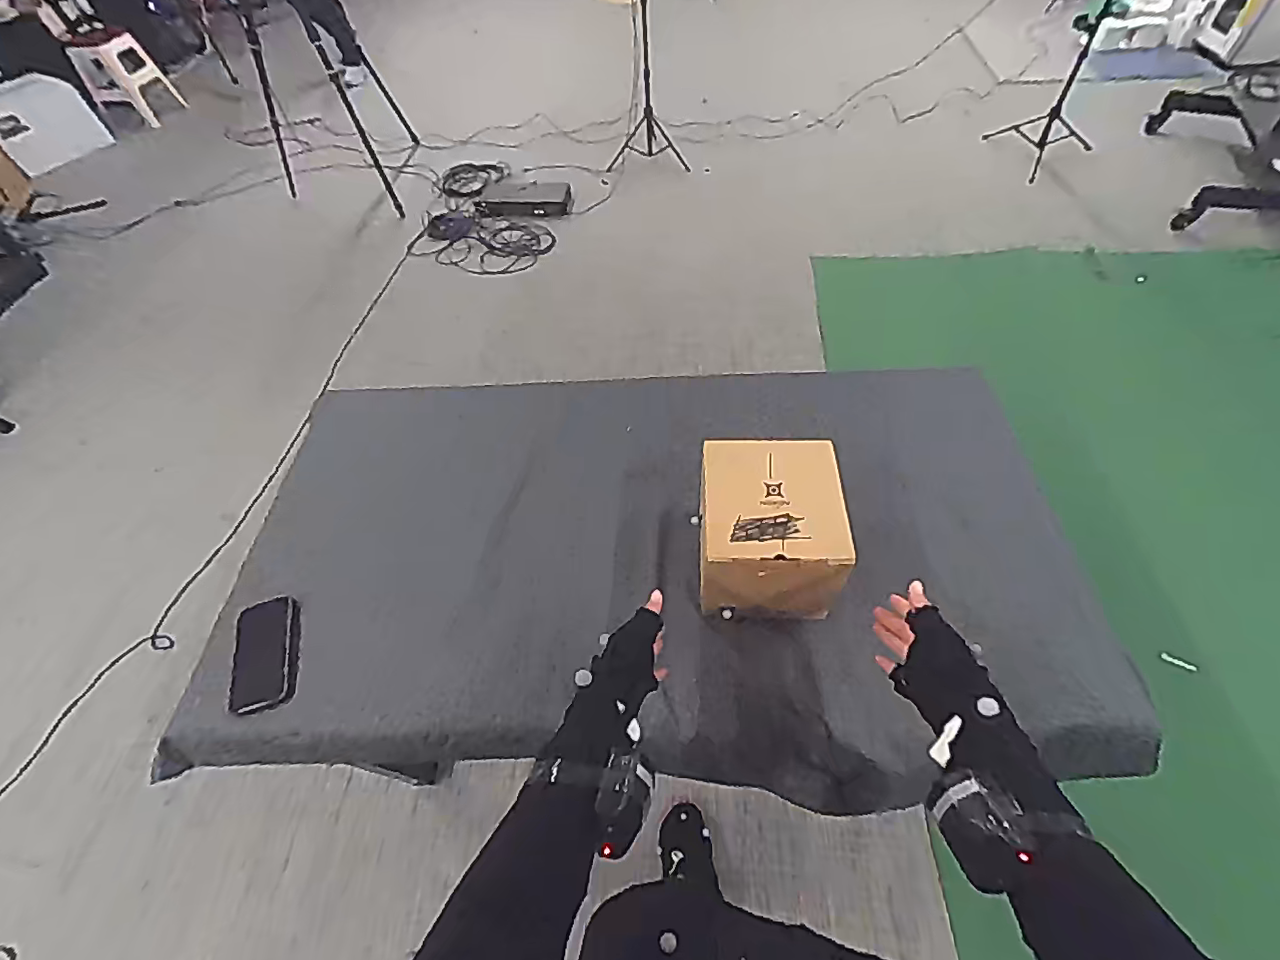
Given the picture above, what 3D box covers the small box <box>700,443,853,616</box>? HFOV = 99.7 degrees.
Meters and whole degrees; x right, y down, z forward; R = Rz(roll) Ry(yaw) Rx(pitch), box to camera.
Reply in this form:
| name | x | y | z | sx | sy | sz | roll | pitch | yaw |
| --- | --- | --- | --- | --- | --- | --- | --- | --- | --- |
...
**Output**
| name | x | y | z | sx | sy | sz | roll | pitch | yaw |
| --- | --- | --- | --- | --- | --- | --- | --- | --- | --- |
| small box | 0.167 | 0.070 | 0.720 | 0.168 | 0.176 | 0.179 | 1 | 53 | 4 |
